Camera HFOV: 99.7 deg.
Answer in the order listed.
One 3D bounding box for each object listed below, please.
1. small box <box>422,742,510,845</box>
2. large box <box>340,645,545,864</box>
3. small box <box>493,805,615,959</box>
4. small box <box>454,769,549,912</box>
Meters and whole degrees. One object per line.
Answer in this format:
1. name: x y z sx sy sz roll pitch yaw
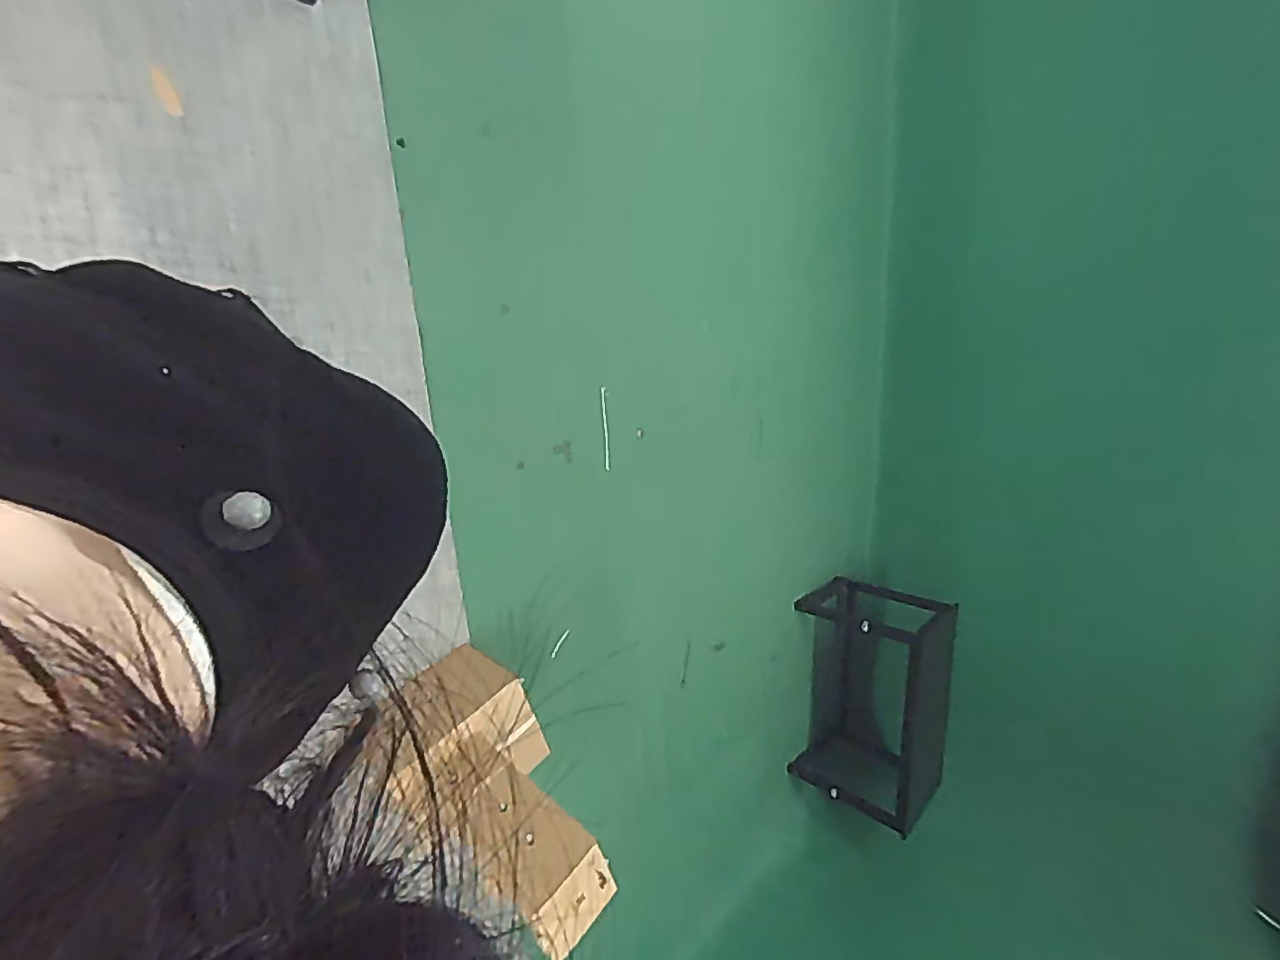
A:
1. small box: -0.417 0.795 1.361 0.168 0.176 0.179 -32 119 -37
2. large box: -0.558 0.759 1.561 0.408 0.320 0.320 -34 121 -38
3. small box: -0.185 0.840 1.133 0.179 0.176 0.168 -32 119 -36
4. small box: -0.303 0.819 1.246 0.179 0.176 0.168 -34 119 -37
